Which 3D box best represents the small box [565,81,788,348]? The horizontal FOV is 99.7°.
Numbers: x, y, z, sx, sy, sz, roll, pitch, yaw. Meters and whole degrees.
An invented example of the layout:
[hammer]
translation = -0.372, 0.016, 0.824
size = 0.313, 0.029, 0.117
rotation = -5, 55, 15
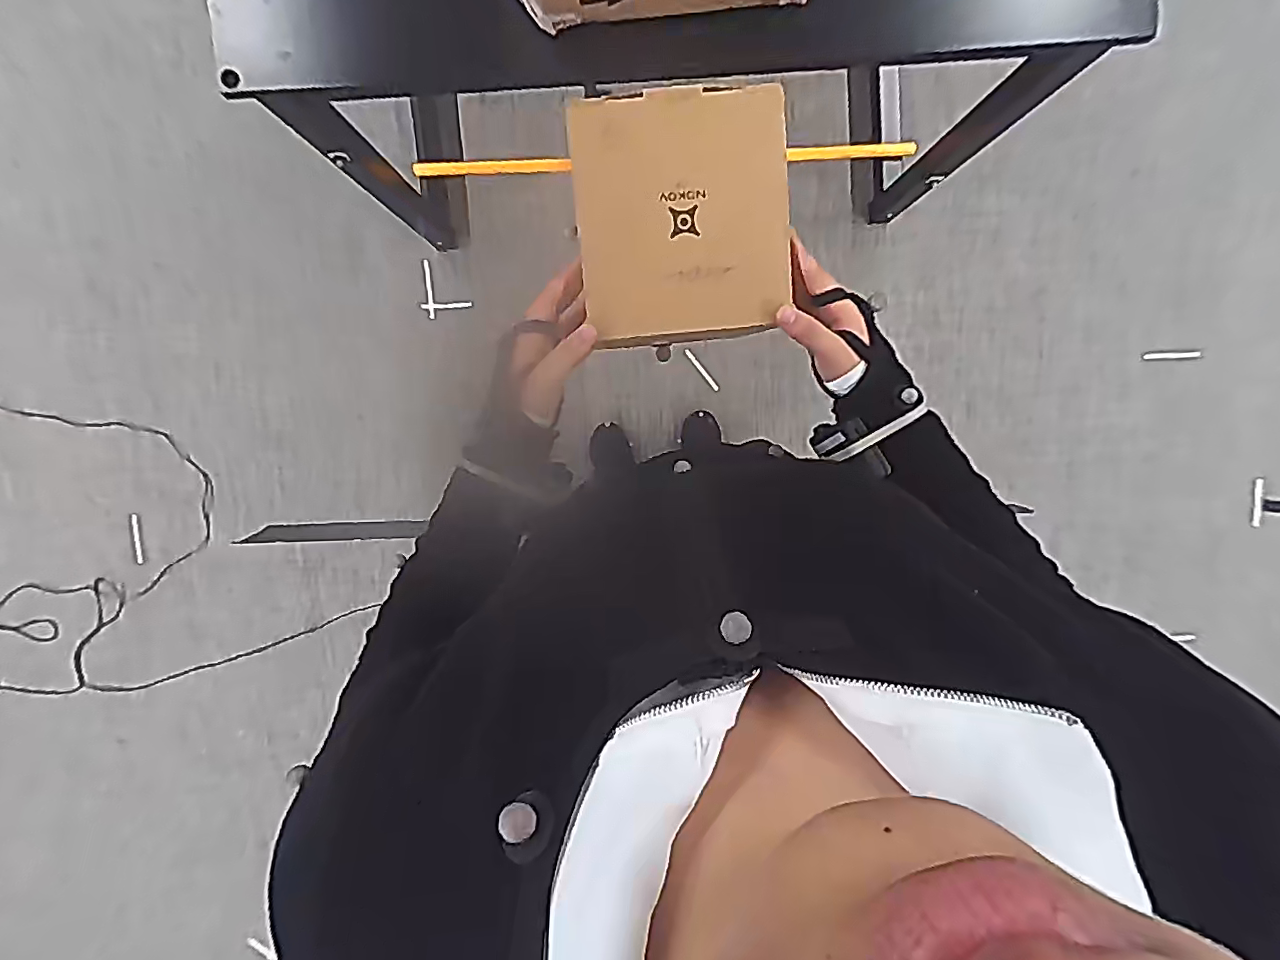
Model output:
[small box]
translation = 0.026, -0.220, 0.493
size = 0.168, 0.176, 0.179
rotation = -6, 102, -2
